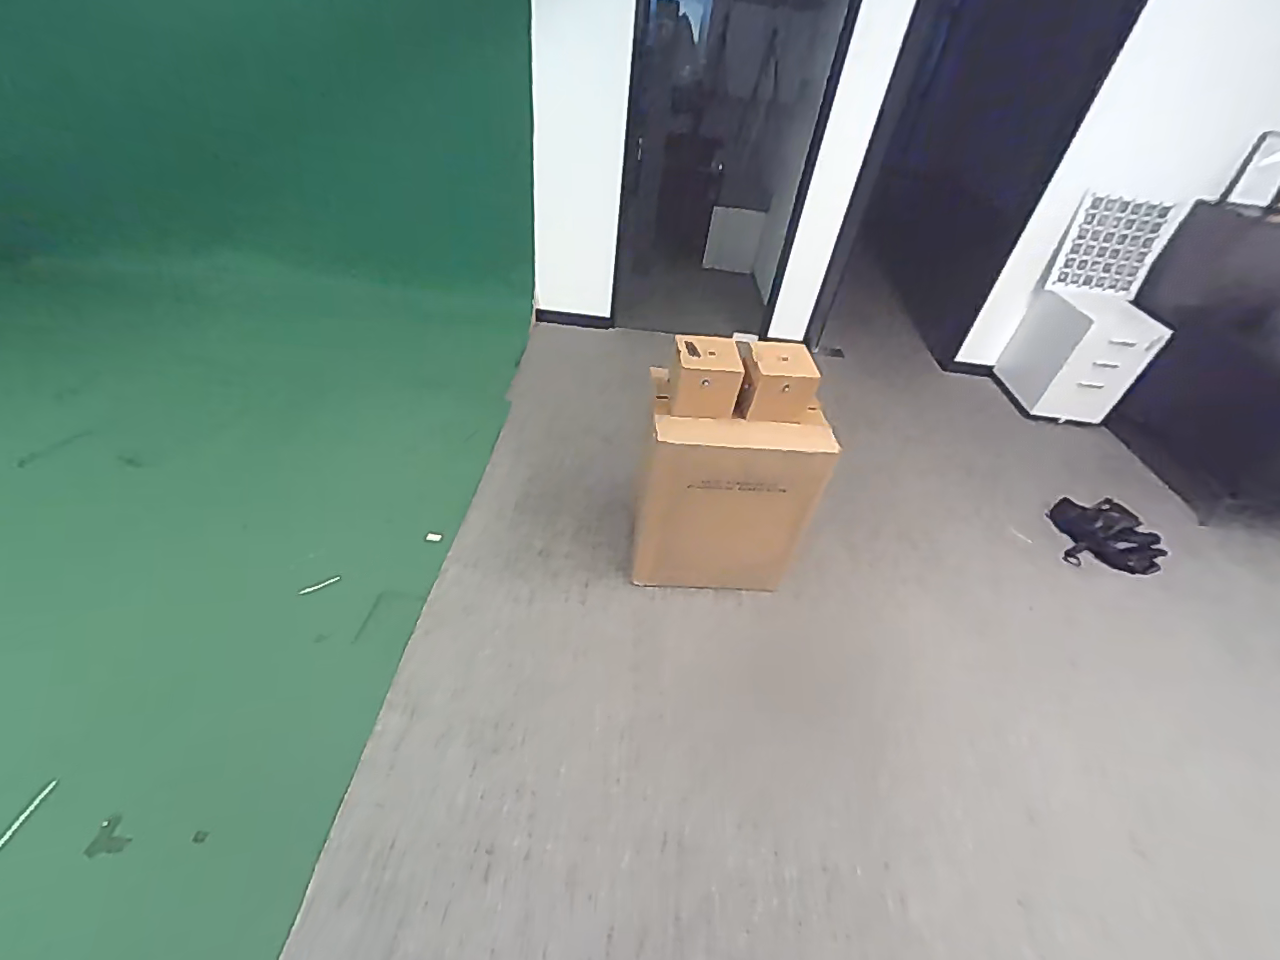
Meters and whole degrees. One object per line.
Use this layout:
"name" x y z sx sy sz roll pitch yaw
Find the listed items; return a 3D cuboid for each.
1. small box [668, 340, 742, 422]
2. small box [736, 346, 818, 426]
"small box" 0.179 -0.284 1.562 0.179 0.176 0.168 3 46 -8
"small box" 0.391 -0.274 1.590 0.179 0.176 0.168 2 47 -10
